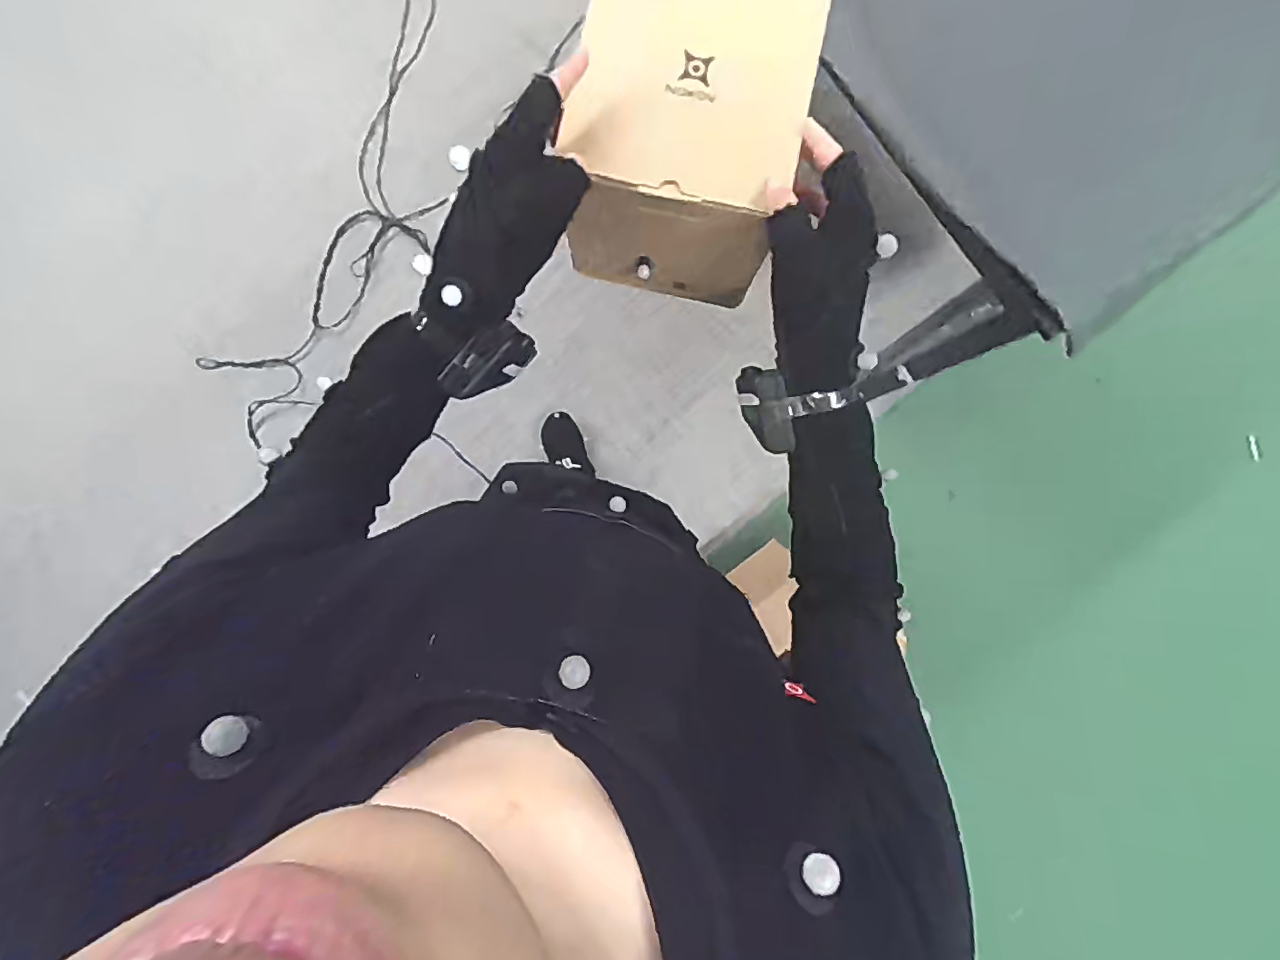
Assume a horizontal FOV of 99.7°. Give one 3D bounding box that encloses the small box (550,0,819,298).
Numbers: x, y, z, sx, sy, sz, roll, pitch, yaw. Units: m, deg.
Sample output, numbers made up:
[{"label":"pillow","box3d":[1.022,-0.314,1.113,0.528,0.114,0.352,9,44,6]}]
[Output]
[{"label":"small box","box3d":[0.030,-0.280,0.455,0.168,0.176,0.179,11,88,-1]}]
